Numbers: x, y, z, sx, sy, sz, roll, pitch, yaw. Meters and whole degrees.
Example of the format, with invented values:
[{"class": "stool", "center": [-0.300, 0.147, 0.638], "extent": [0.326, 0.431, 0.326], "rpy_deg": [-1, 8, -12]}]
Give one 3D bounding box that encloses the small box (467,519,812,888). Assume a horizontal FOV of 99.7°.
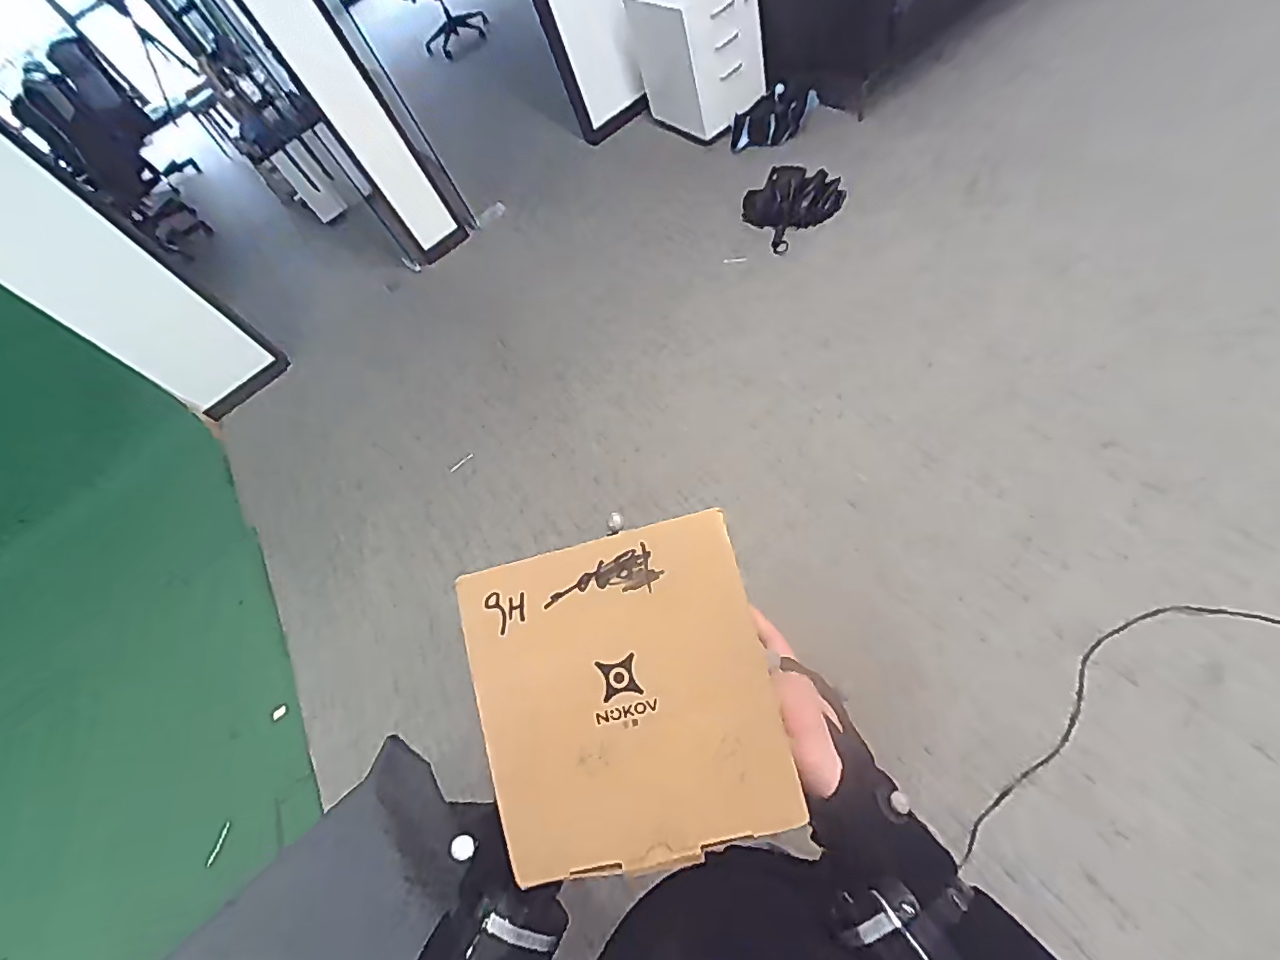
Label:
[{"class": "small box", "center": [0.004, 0.132, 0.383], "extent": [0.168, 0.176, 0.179], "rpy_deg": [-15, 82, 3]}]
